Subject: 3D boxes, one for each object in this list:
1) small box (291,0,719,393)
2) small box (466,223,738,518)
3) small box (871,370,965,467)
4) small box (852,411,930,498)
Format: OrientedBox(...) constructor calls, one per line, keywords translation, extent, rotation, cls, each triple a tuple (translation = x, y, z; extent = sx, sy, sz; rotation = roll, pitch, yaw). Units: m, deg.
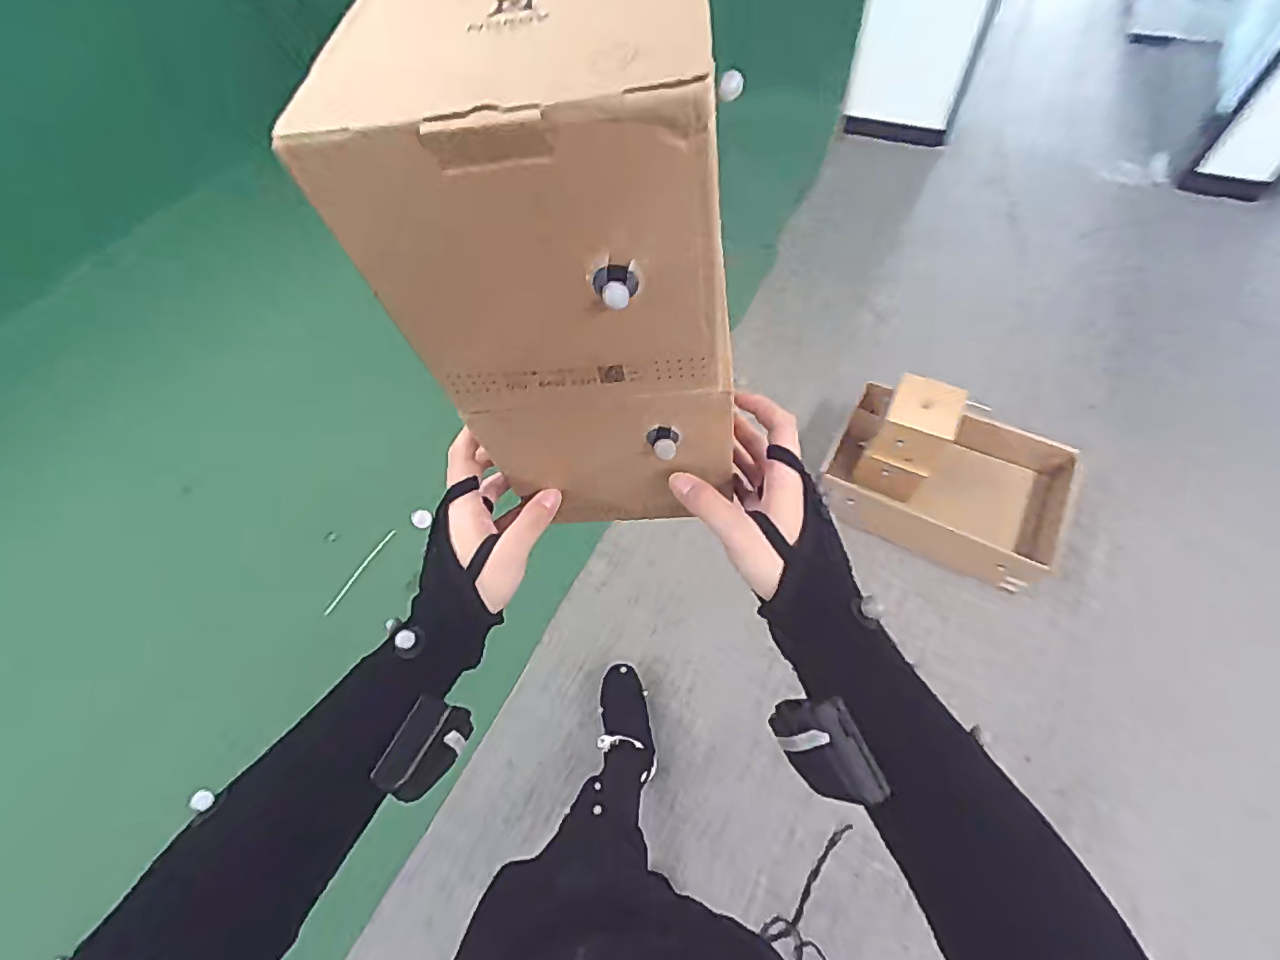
OrientedBox(translation=(-0.041, -0.162, 0.308), extent=(0.168, 0.176, 0.179), rotation=(-2, 59, 8), cls="small box")
OrientedBox(translation=(-0.013, -0.078, 0.445), extent=(0.179, 0.176, 0.168), rotation=(-3, 59, 9), cls="small box")
OrientedBox(translation=(0.747, -0.161, 1.468), extent=(0.168, 0.176, 0.179), rotation=(21, 65, 17), cls="small box")
OrientedBox(translation=(0.755, -0.071, 1.603), extent=(0.179, 0.176, 0.168), rotation=(24, 67, 16), cls="small box")
